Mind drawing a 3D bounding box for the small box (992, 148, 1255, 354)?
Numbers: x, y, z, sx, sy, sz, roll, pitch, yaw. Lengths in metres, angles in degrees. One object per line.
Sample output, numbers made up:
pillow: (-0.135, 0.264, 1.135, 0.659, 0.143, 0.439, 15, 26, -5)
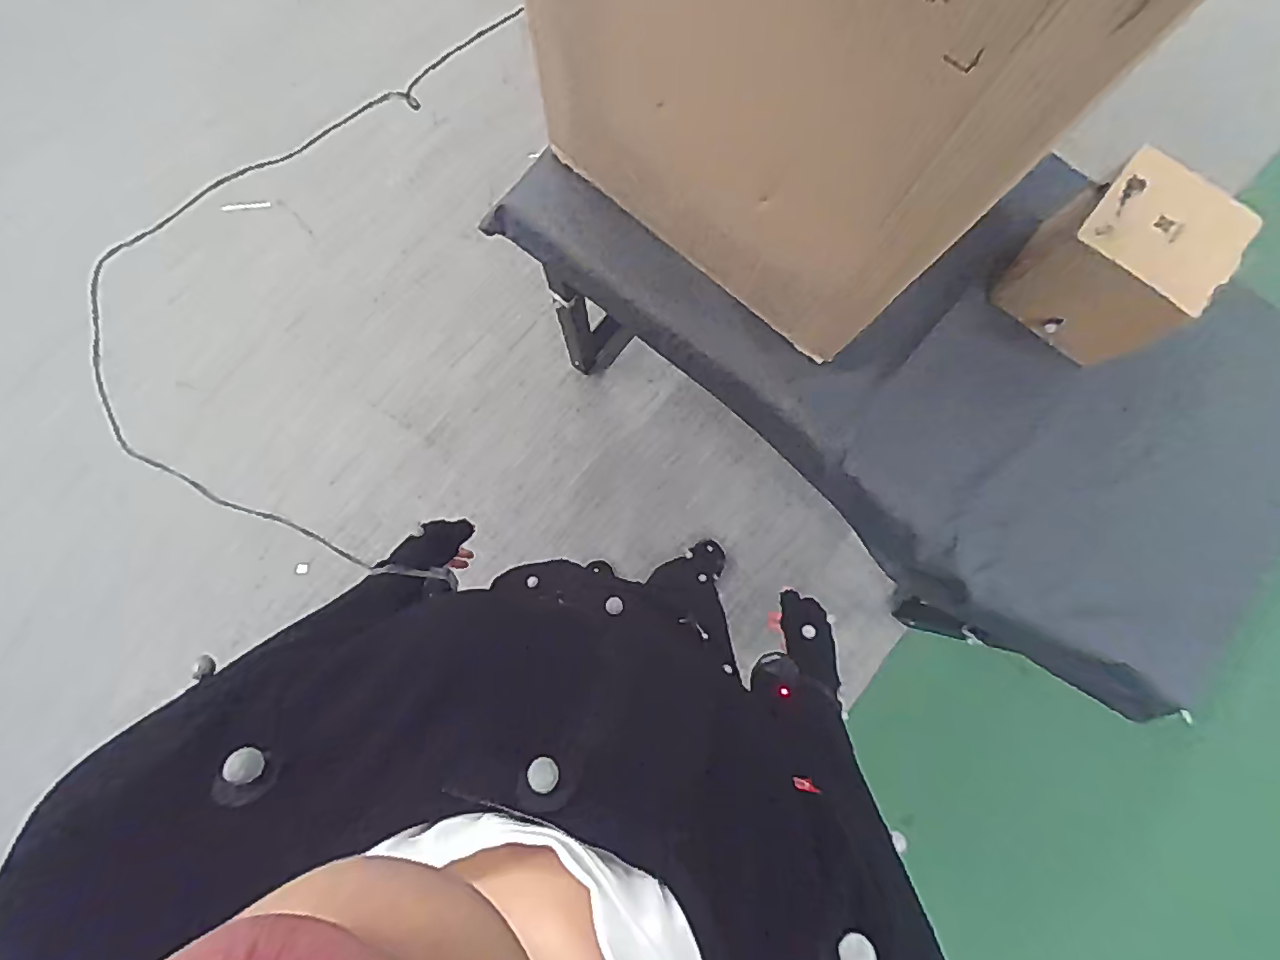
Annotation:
small box: (0.650, -0.298, 0.750, 0.179, 0.176, 0.168, 39, 83, 5)
